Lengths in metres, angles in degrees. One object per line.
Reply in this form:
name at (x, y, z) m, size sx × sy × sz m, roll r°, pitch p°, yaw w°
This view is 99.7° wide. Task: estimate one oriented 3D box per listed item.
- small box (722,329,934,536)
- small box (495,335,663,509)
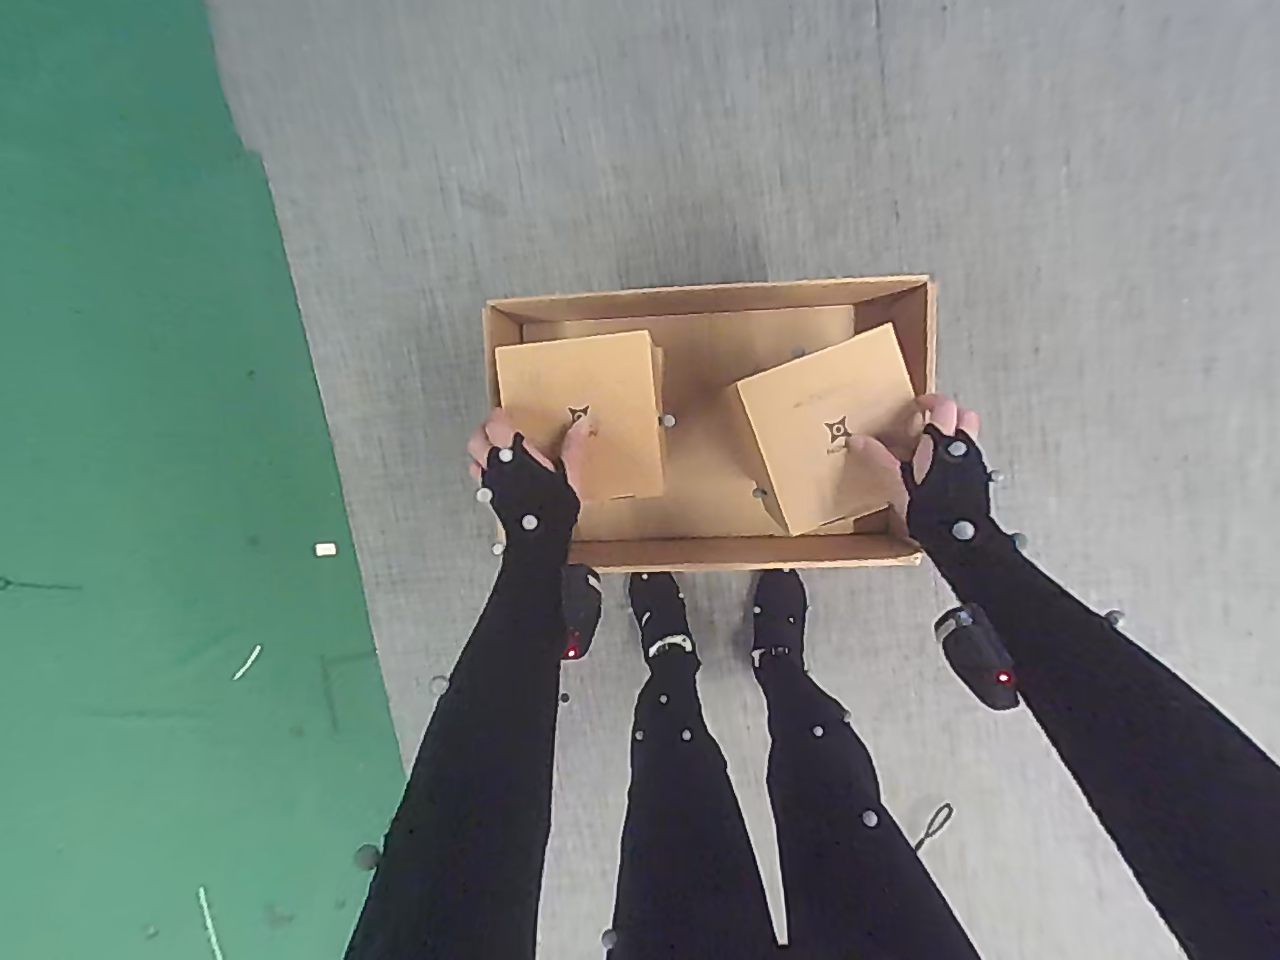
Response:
small box at (0.205, -0.055, 0.636) m, size 0.168 × 0.176 × 0.179 m, roll -20°, pitch 94°, yaw 6°
small box at (-0.062, -0.067, 0.657) m, size 0.168 × 0.176 × 0.179 m, roll -6°, pitch 96°, yaw 5°
